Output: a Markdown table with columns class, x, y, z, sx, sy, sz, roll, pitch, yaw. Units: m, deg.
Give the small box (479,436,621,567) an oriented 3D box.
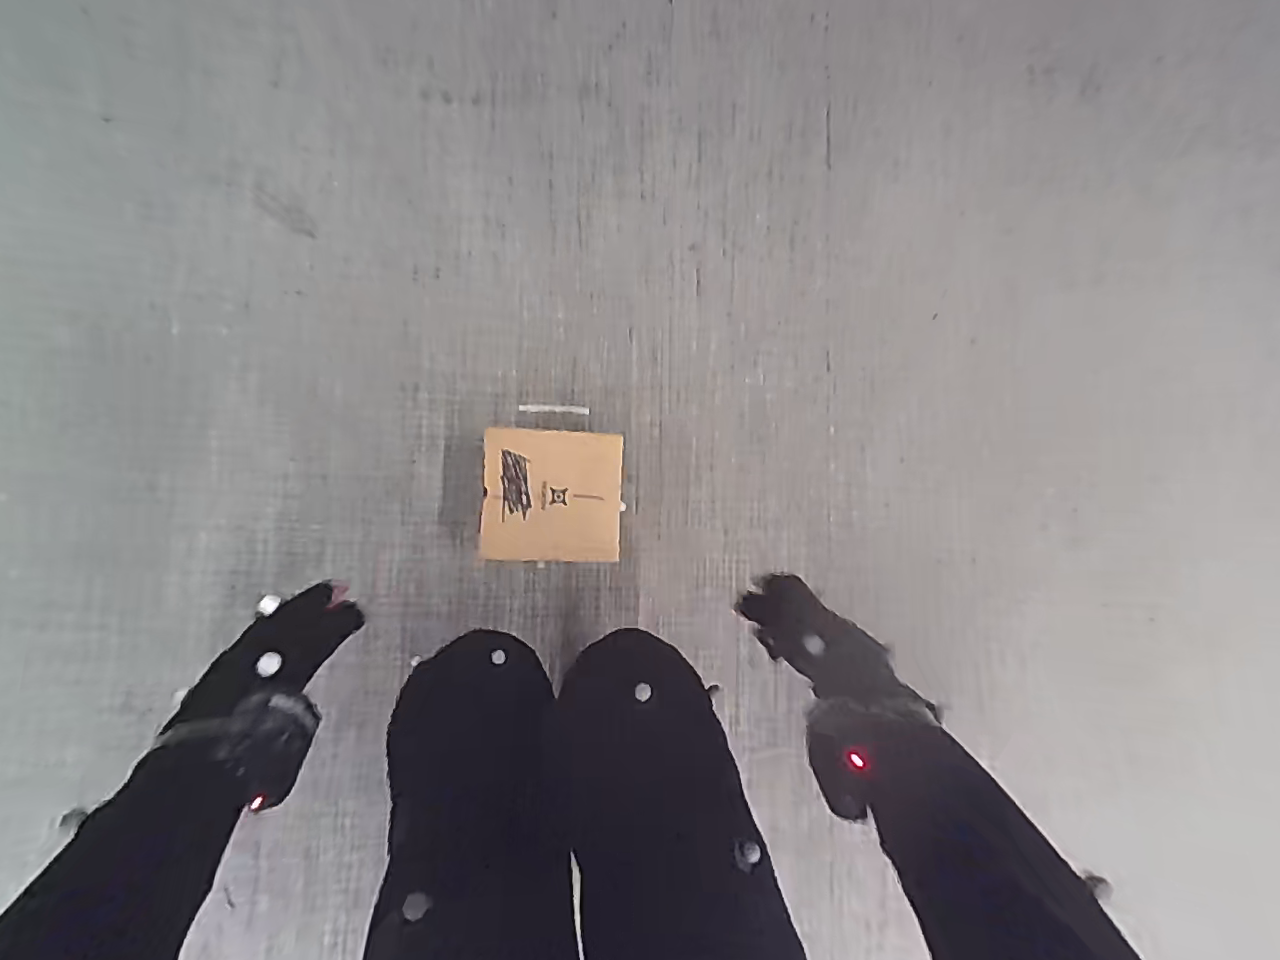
| class | x | y | z | sx | sy | sz | roll | pitch | yaw |
| --- | --- | --- | --- | --- | --- | --- | --- | --- | --- |
| small box | -0.124 | 0.036 | 0.781 | 0.179 | 0.176 | 0.168 | 3 | 85 | -7 |
